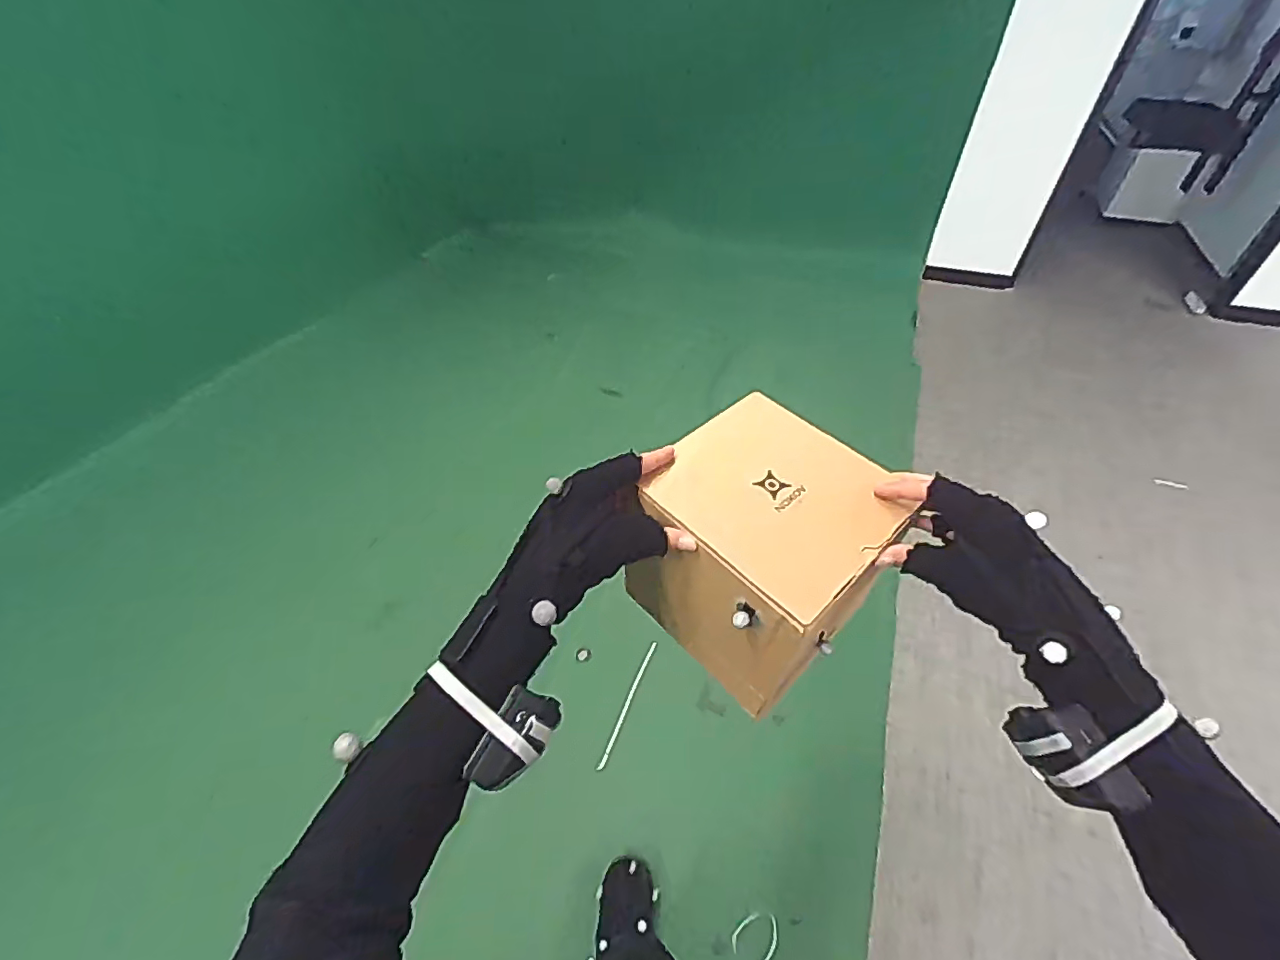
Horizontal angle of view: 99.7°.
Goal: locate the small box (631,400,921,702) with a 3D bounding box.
[{"bbox_3d":[0.105,0.064,0.493,0.168,0.176,0.179,-33,58,-28],"label":"small box"}]
